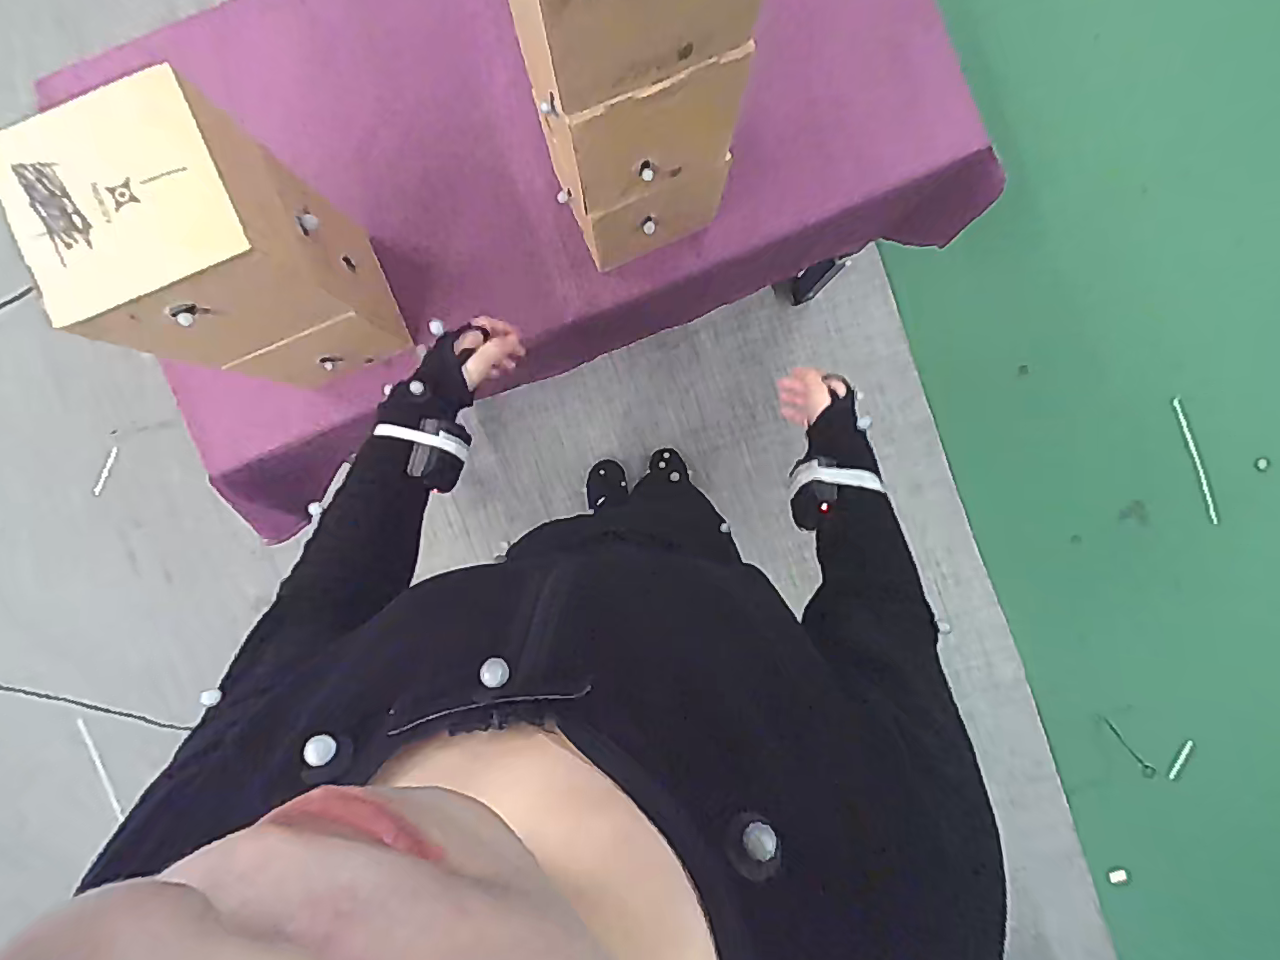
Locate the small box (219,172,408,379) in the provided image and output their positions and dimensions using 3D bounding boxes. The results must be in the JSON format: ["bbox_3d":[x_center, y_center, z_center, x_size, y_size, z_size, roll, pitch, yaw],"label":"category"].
[{"bbox_3d":[-0.426,-0.239,0.683,0.168,0.176,0.179,-22,91,0],"label":"small box"}]

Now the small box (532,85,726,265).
[{"bbox_3d":[-0.010,-0.401,0.682,0.179,0.176,0.168,-23,91,1],"label":"small box"}]

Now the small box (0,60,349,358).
[{"bbox_3d":[-0.426,-0.235,0.519,0.179,0.176,0.168,-23,91,0],"label":"small box"}]

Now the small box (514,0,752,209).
[{"bbox_3d":[-0.015,-0.404,0.519,0.168,0.176,0.179,-22,92,0],"label":"small box"}]
